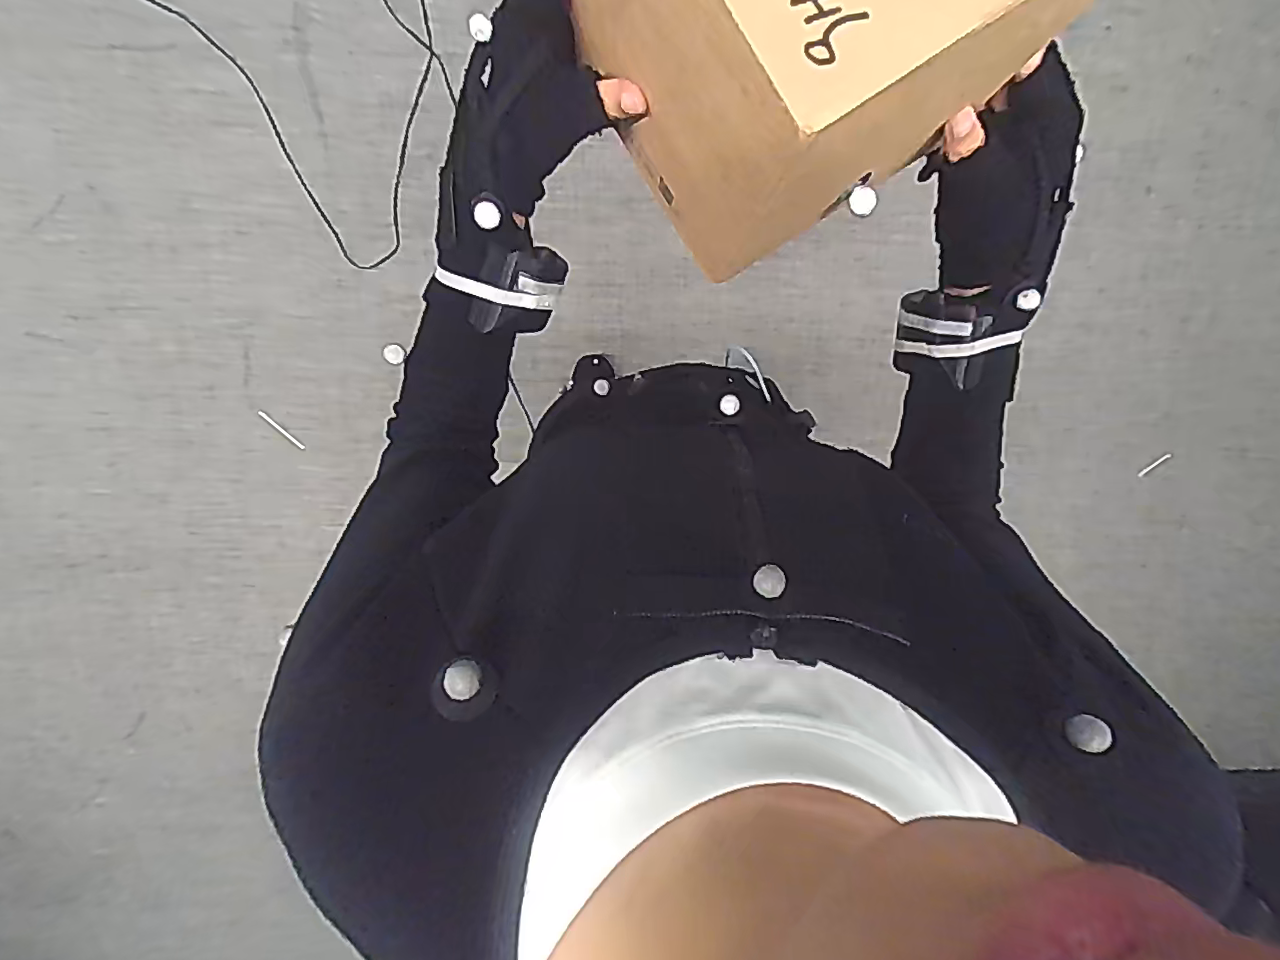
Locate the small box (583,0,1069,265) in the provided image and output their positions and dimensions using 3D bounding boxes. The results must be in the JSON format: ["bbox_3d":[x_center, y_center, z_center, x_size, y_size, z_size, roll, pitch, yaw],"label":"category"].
[{"bbox_3d":[0.079,-0.242,0.267,0.179,0.176,0.168,-33,94,-1],"label":"small box"}]
